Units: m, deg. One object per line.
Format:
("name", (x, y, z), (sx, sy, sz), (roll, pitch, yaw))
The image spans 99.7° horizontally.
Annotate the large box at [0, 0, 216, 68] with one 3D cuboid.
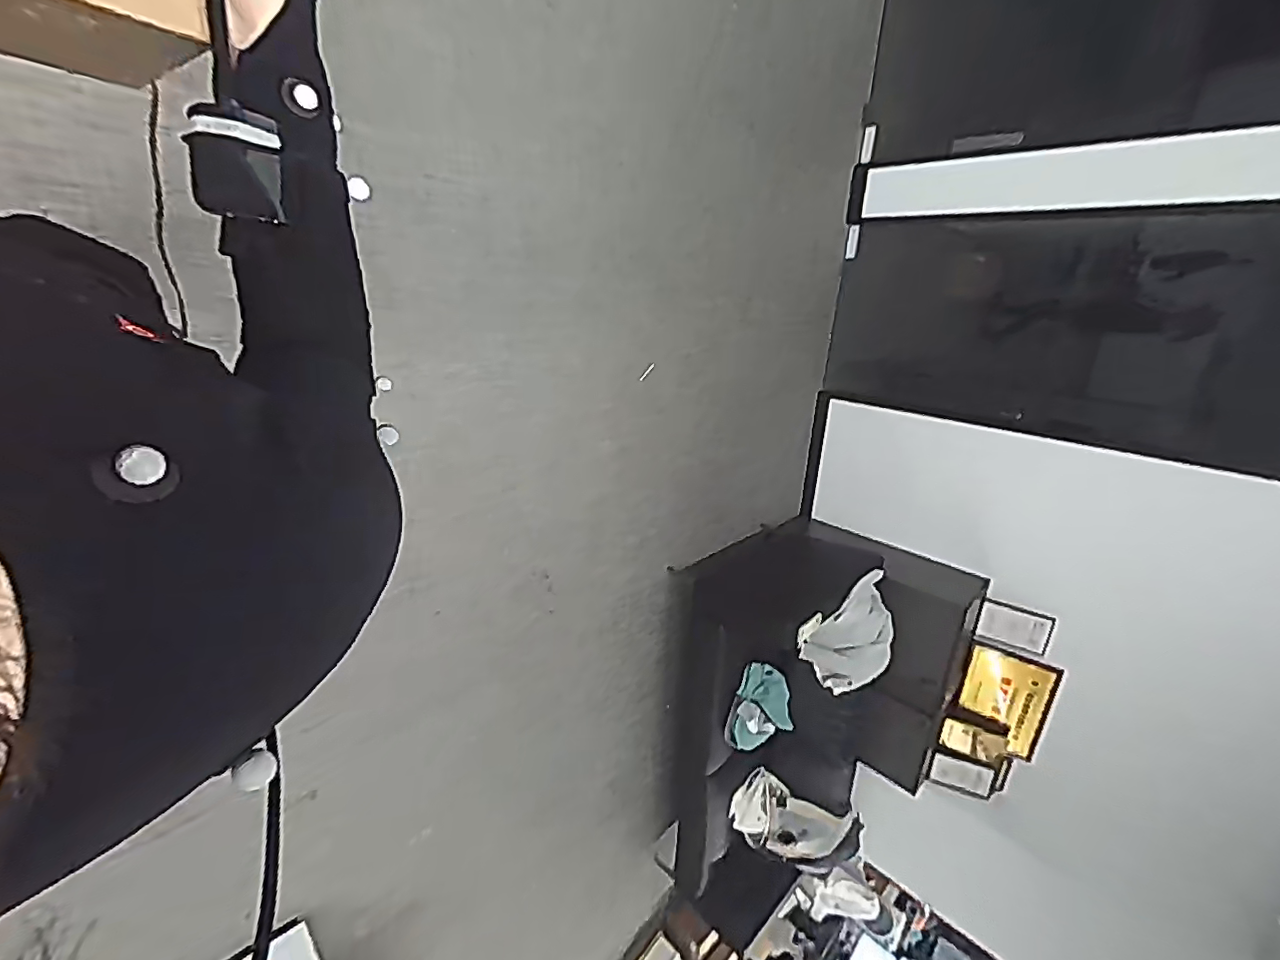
("large box", (-0.493, -0.450, 0.239), (0.408, 0.320, 0.320), (-14, 122, -48))
